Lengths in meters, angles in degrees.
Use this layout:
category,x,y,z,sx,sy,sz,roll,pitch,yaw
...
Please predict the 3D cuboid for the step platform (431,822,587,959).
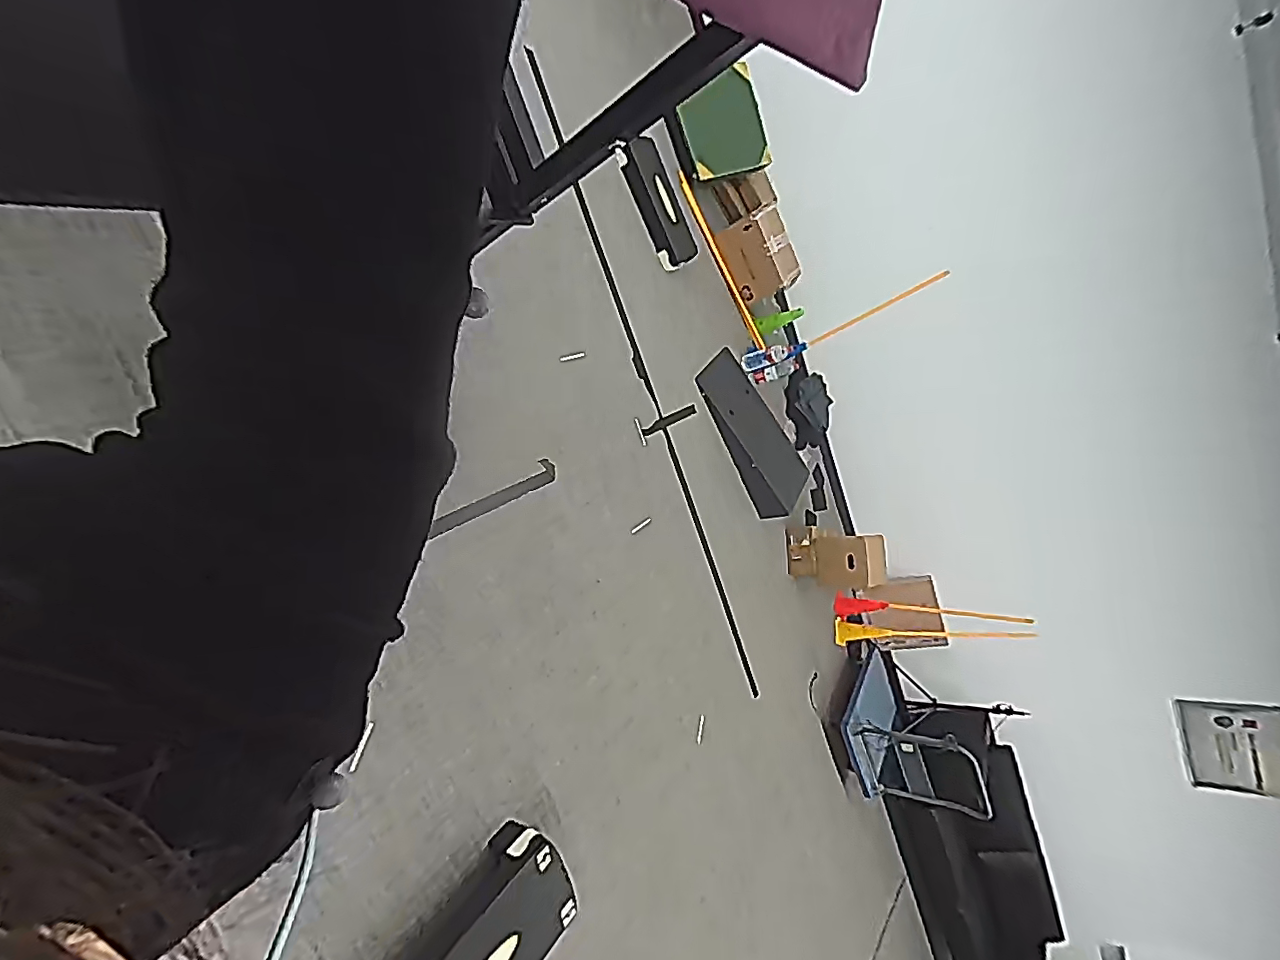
category,x,y,z,sx,sy,sz,roll,pitch,yaw
step platform,-0.442,1.283,1.451,0.684,0.204,0.286,-22,98,-51
